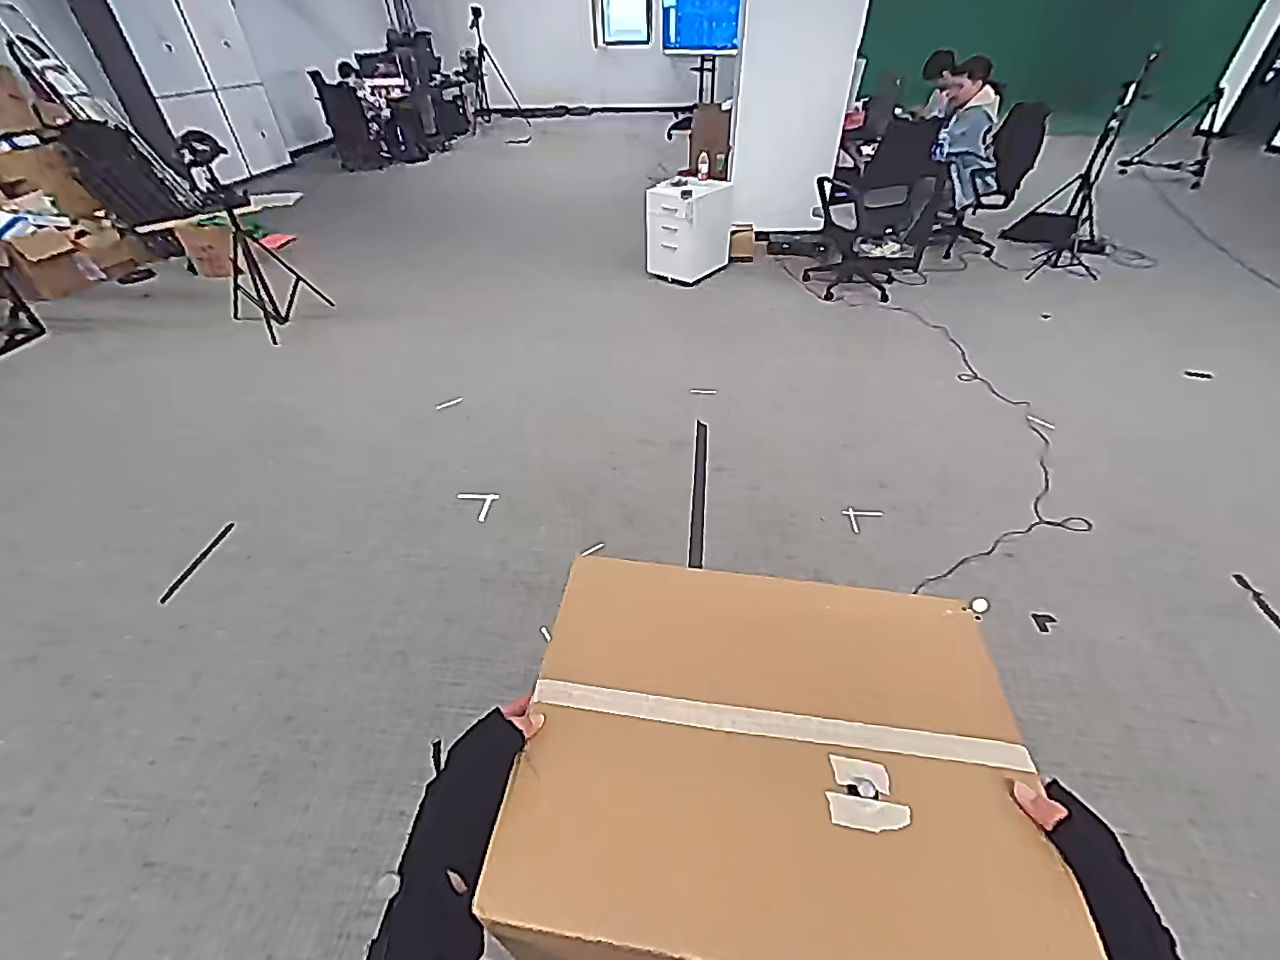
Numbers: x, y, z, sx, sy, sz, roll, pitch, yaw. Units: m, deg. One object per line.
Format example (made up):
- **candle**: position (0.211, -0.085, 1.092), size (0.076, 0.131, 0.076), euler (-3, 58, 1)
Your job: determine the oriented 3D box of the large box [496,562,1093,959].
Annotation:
- **large box**: position (0.110, 0.318, 0.561), size (0.408, 0.320, 0.320), euler (6, 43, 6)
